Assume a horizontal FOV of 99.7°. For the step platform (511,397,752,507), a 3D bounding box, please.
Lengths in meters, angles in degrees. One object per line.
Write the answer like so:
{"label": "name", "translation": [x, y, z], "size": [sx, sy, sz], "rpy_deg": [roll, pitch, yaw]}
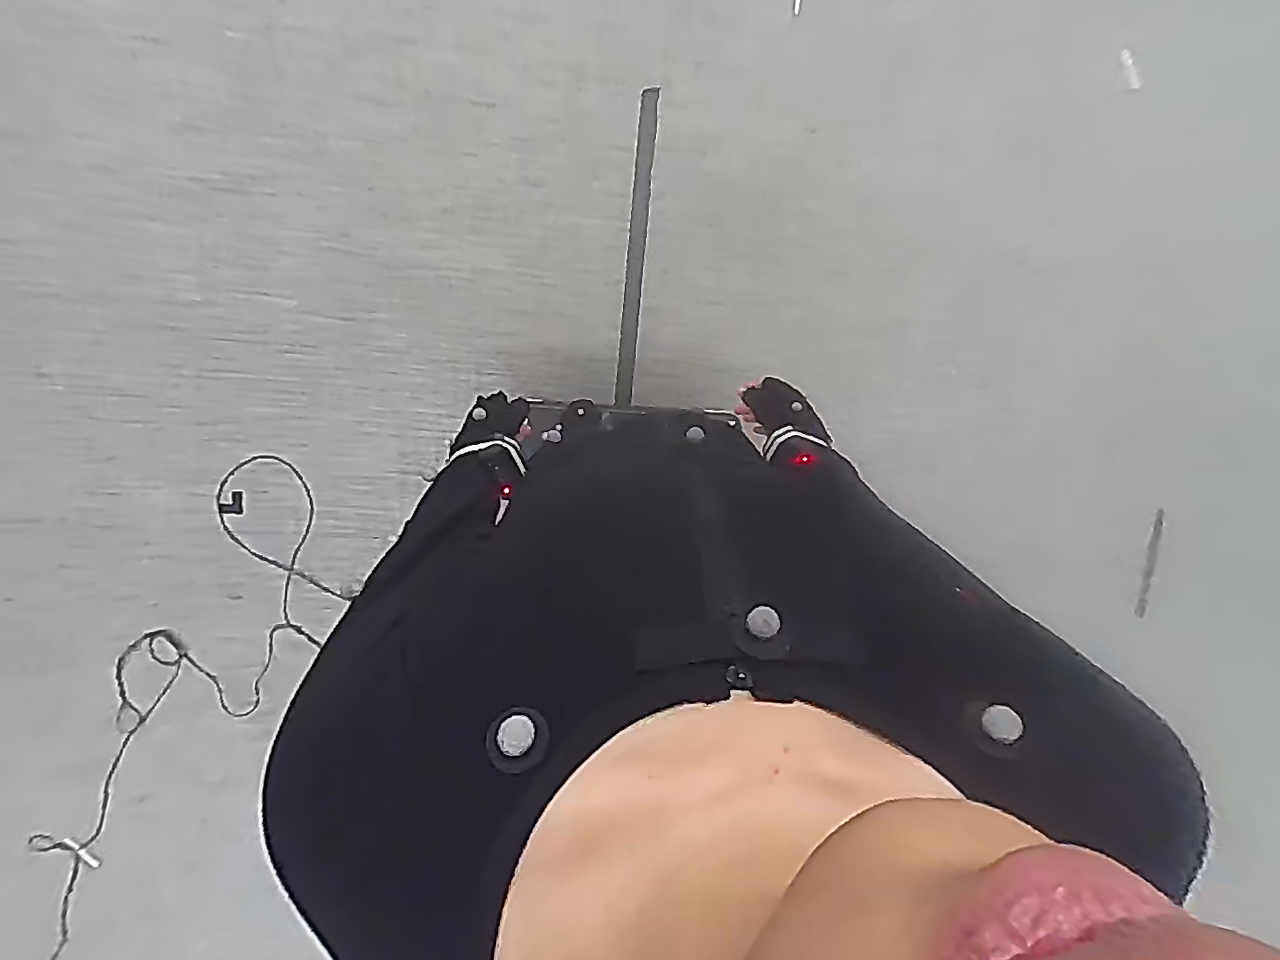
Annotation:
{"label": "step platform", "translation": [-0.024, -0.081, 1.565], "size": [0.684, 0.204, 0.286], "rpy_deg": [2, 99, -6]}
